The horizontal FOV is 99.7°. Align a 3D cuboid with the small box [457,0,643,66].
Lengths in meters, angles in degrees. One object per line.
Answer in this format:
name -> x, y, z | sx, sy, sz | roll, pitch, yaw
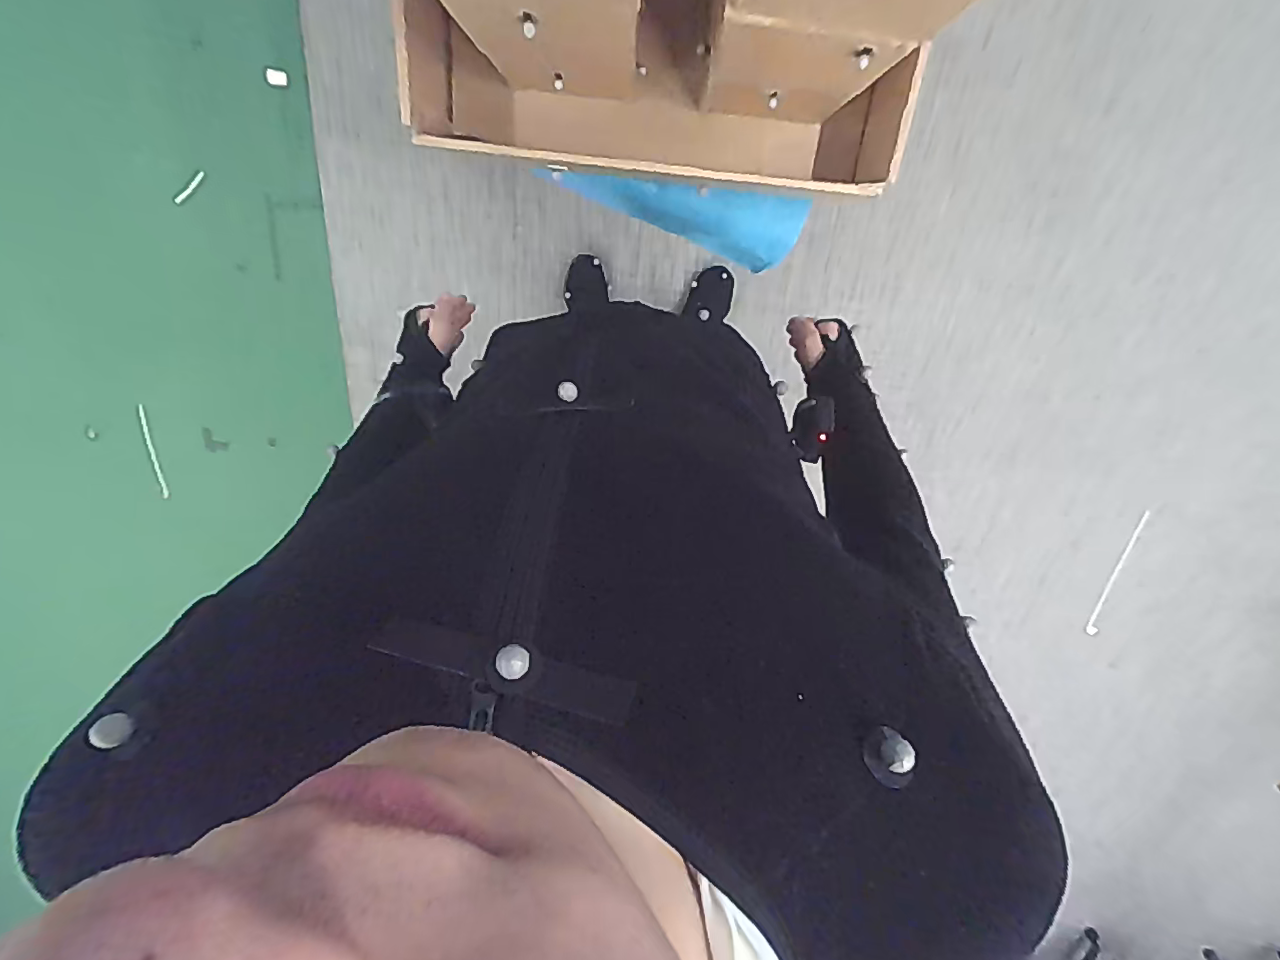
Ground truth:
small box -> -0.082, -0.513, 0.501 | 0.179, 0.176, 0.168 | 5, 113, -3
